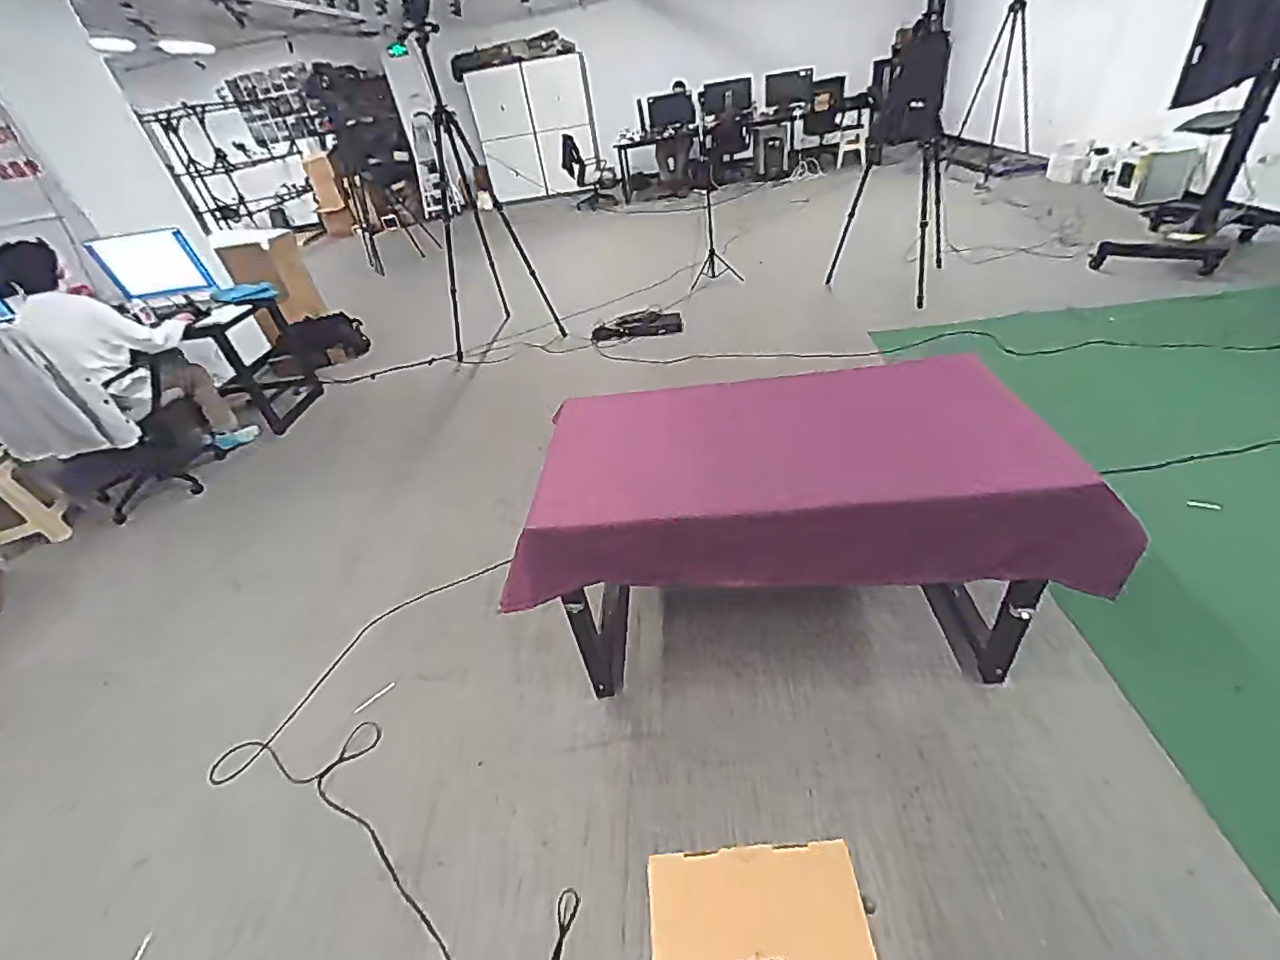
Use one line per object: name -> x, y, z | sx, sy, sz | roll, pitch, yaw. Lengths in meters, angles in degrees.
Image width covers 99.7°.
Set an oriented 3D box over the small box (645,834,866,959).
small box -> 0.099, 0.425, 0.456 | 0.168, 0.176, 0.179 | -7, 44, 3
